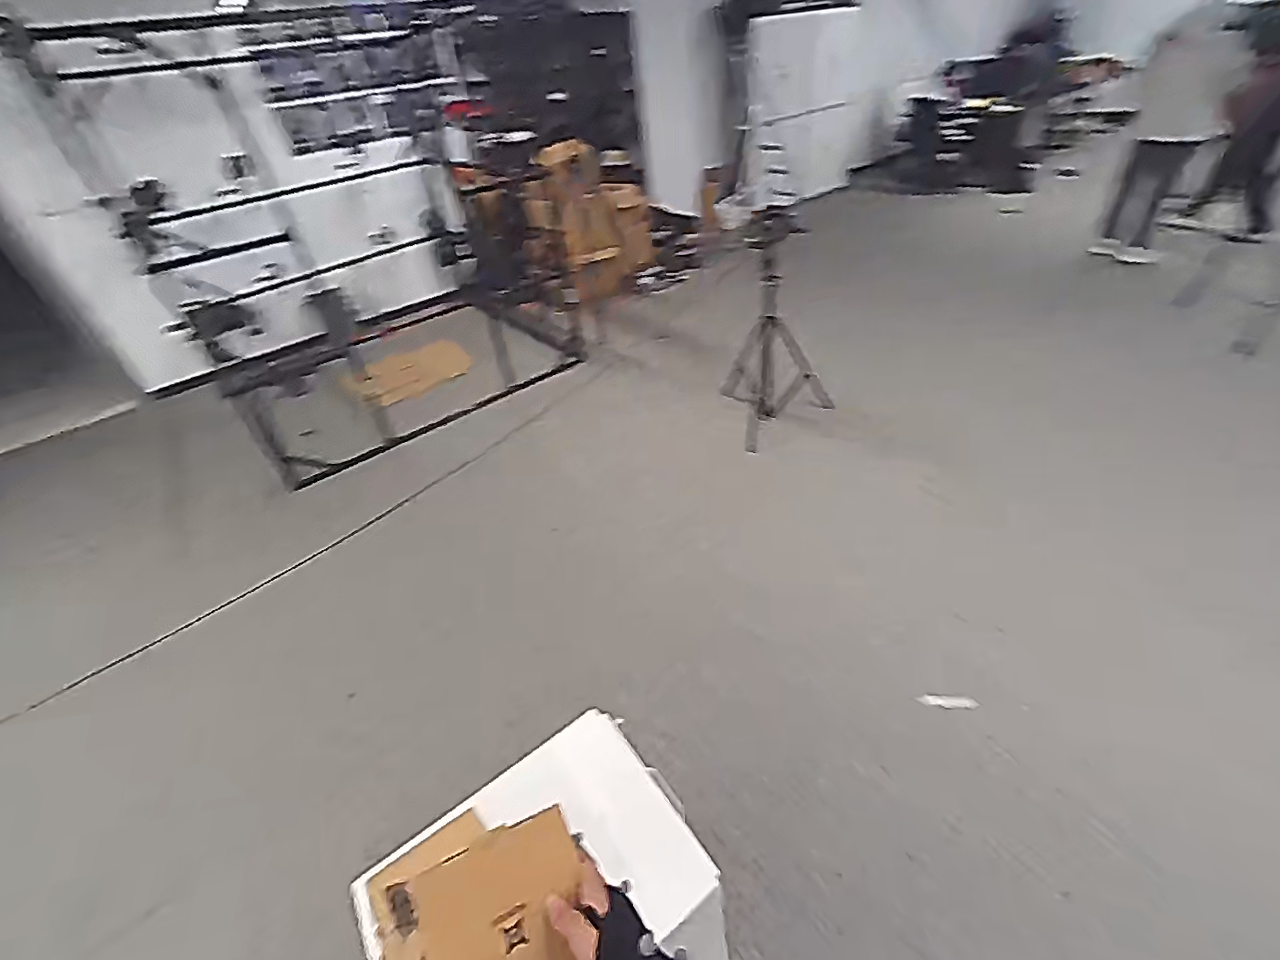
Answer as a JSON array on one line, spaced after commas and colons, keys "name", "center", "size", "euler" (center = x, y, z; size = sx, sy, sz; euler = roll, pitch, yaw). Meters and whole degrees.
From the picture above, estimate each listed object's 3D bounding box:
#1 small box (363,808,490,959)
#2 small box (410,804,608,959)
[{"name": "small box", "center": [-0.287, 0.662, 0.827], "size": [0.179, 0.176, 0.168], "euler": [-27, 41, -24]}, {"name": "small box", "center": [-0.142, 0.503, 0.606], "size": [0.168, 0.176, 0.179], "euler": [-16, 54, -23]}]
